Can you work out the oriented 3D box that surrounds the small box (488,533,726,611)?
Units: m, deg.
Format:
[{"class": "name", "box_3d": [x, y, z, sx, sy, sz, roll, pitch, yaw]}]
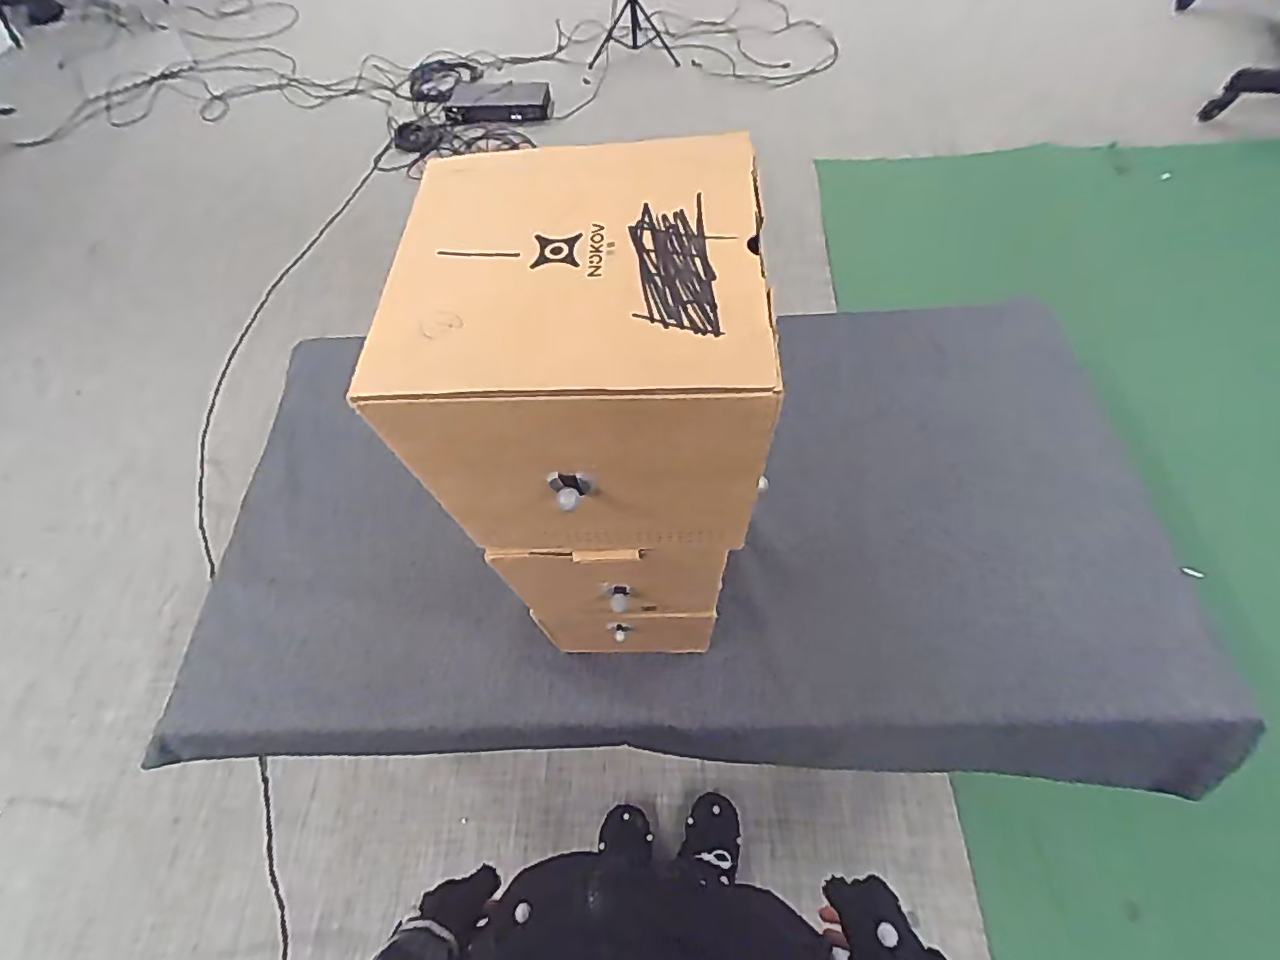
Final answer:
[{"class": "small box", "box_3d": [-0.018, 0.011, 0.468, 0.168, 0.176, 0.179, -3, 62, 2]}]

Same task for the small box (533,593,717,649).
[{"class": "small box", "box_3d": [-0.010, 0.092, 0.609, 0.179, 0.176, 0.168, -1, 62, 2]}]

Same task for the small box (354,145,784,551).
[{"class": "small box", "box_3d": [-0.023, -0.063, 0.321, 0.179, 0.176, 0.168, -1, 61, 5]}]
